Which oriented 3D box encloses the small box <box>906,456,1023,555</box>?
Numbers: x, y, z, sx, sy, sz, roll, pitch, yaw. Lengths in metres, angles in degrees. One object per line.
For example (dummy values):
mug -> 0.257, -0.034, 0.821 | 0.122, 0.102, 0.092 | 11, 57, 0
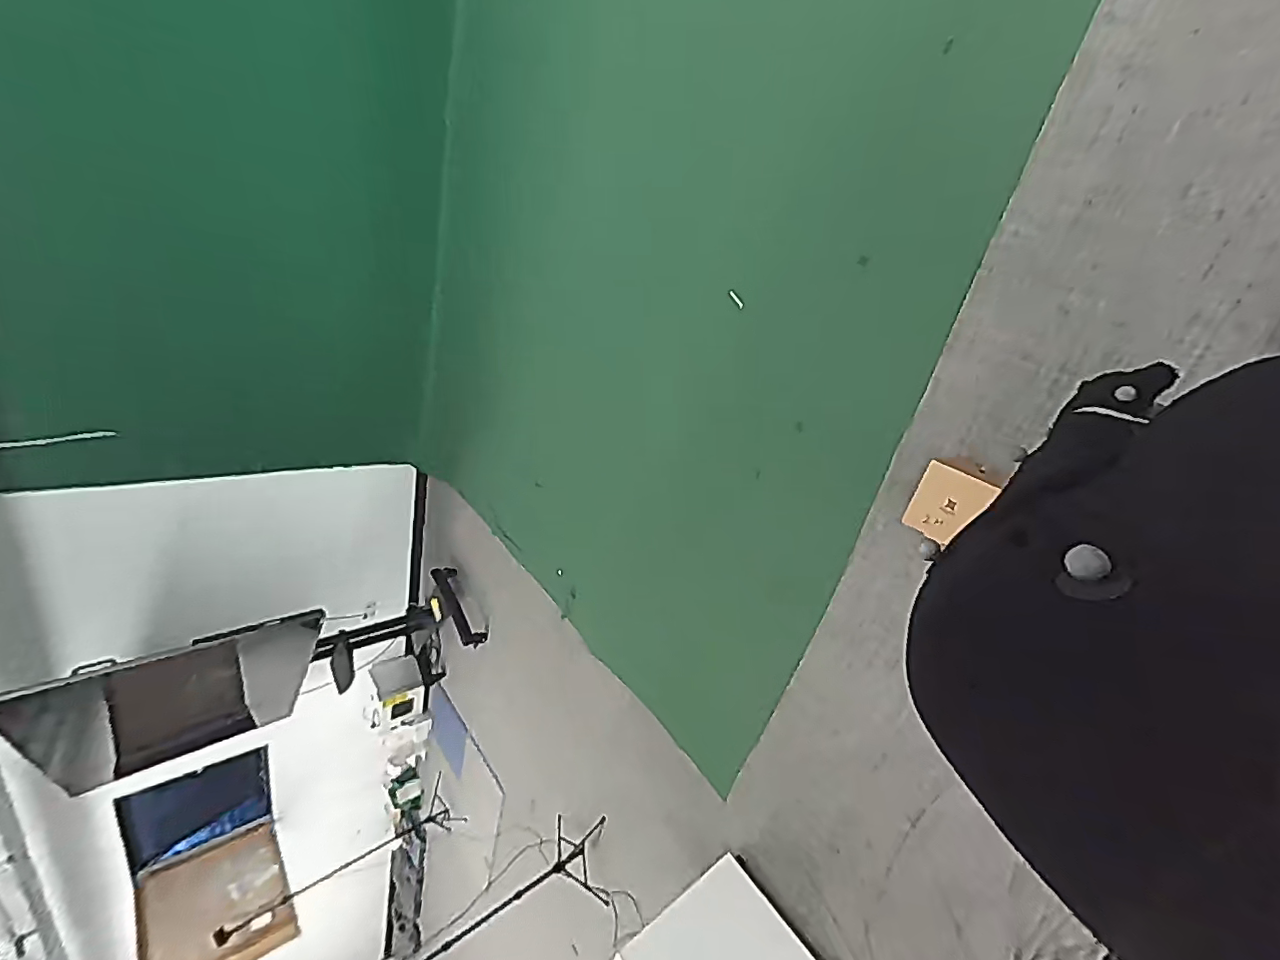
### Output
small box -> 0.780, 0.052, 1.295 | 0.168, 0.176, 0.179 | 36, 121, 40
